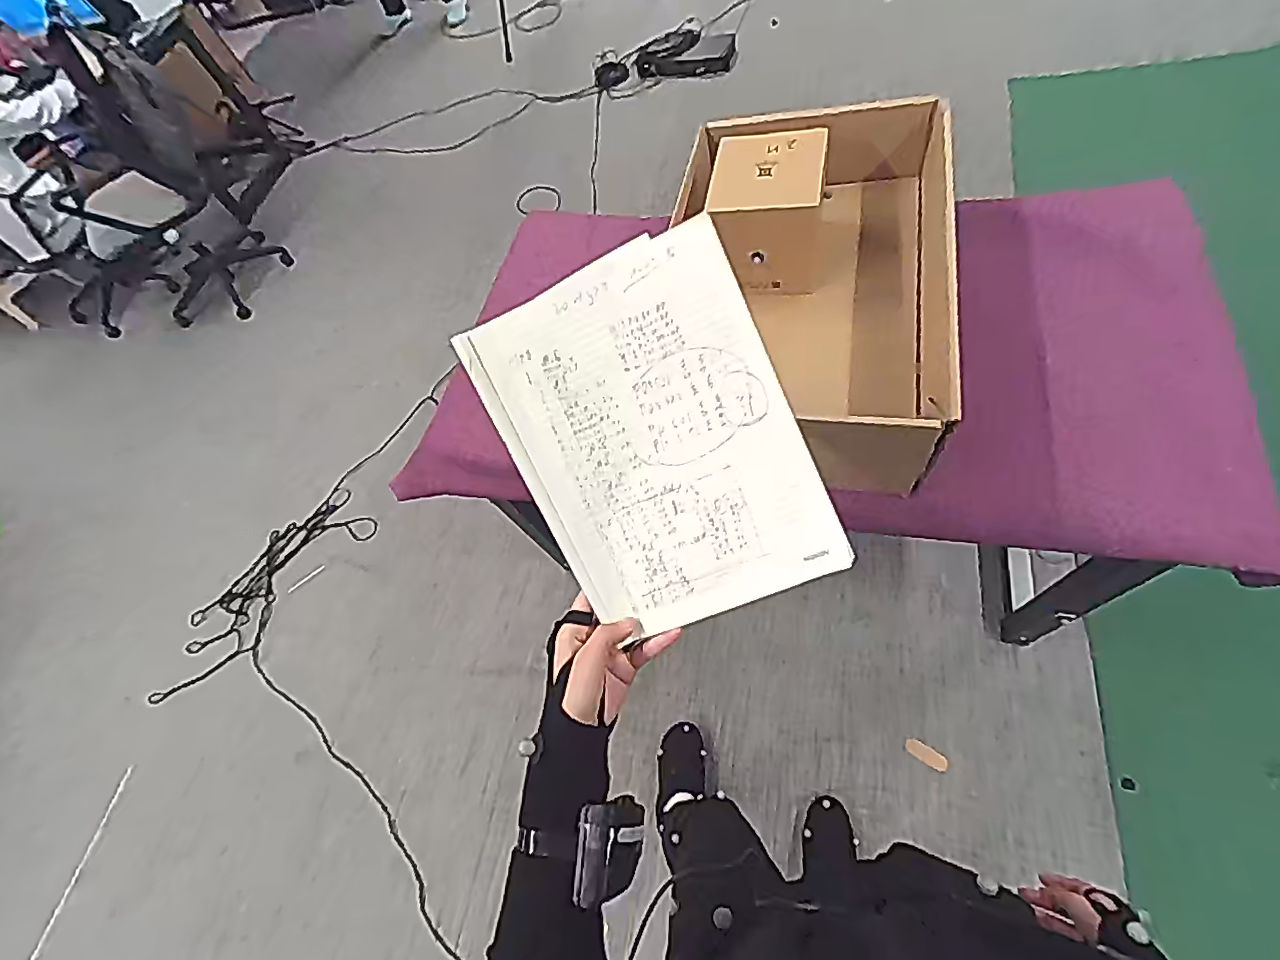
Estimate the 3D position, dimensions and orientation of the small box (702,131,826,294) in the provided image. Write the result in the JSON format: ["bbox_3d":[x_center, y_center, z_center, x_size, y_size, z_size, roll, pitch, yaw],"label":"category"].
[{"bbox_3d":[0.207,-0.423,0.879,0.168,0.176,0.179,6,65,18],"label":"small box"}]
